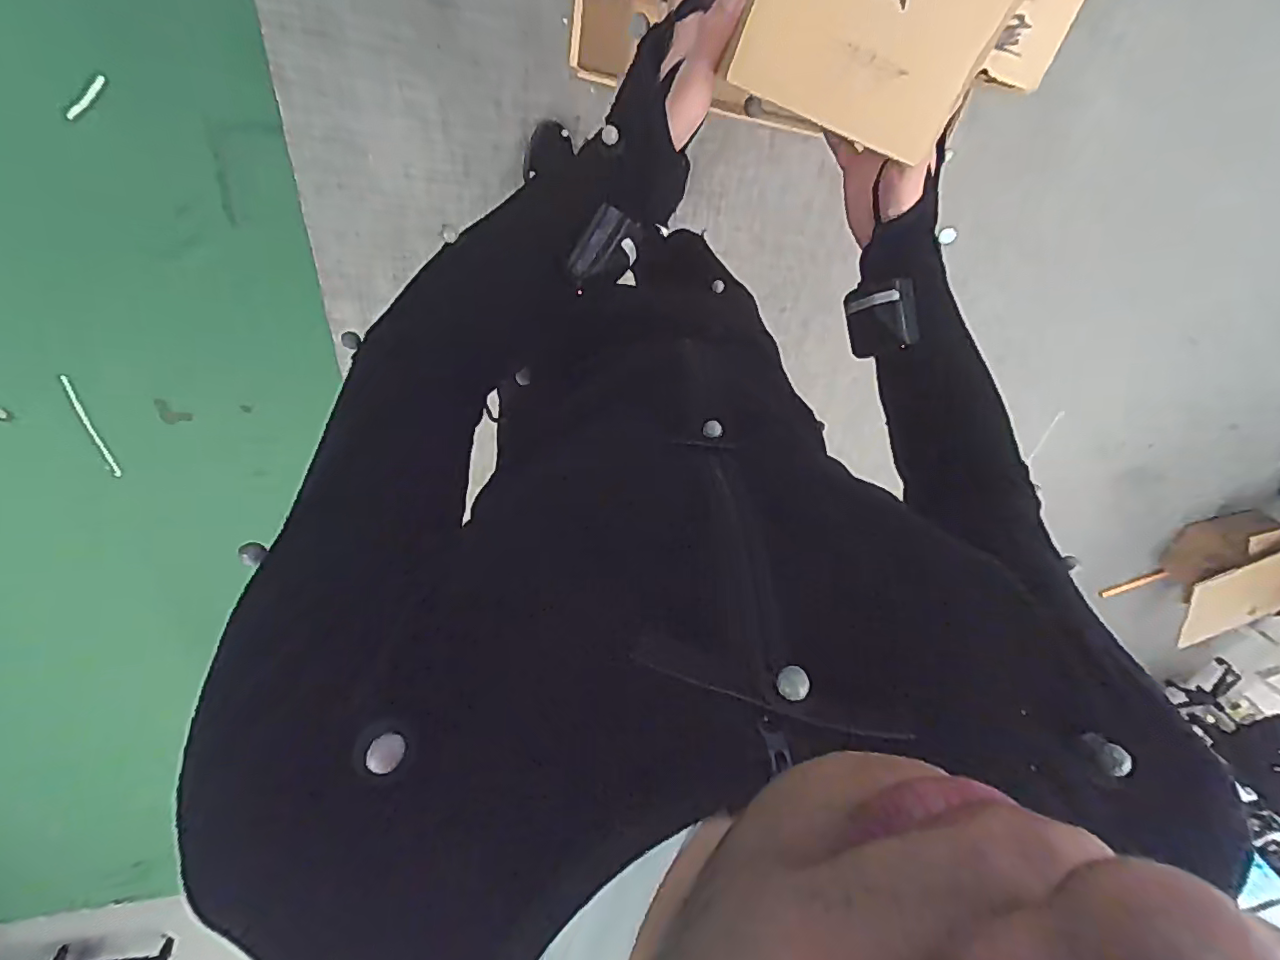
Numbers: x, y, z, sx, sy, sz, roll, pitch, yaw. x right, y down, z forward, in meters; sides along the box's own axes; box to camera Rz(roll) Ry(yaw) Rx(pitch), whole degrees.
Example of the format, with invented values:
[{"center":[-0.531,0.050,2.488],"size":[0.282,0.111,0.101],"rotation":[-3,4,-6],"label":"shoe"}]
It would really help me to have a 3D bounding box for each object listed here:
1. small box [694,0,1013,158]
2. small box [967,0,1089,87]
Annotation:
[{"center":[0.149,-0.368,0.383],"size":[0.168,0.176,0.179],"rotation":[11,130,-16],"label":"small box"},{"center":[0.416,-0.603,0.649],"size":[0.168,0.176,0.179],"rotation":[3,128,-16],"label":"small box"}]
